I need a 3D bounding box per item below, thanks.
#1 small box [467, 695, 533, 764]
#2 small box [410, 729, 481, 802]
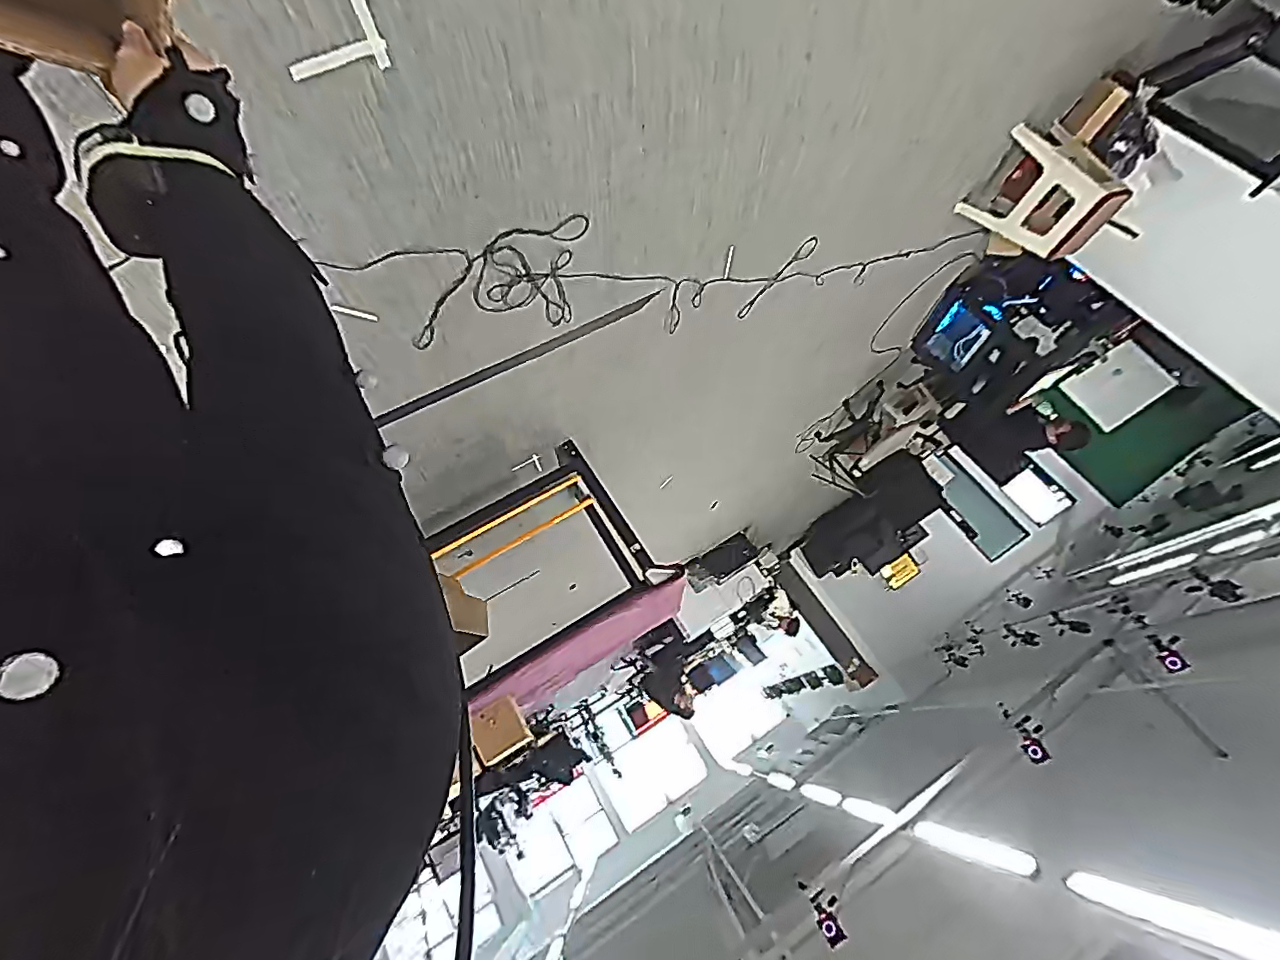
[{"bbox_3d":[-0.504,0.902,1.957,0.168,0.176,0.179,-28,158,-17],"label":"small box"},{"bbox_3d":[-0.683,1.001,1.907,0.168,0.176,0.179,-28,159,-17],"label":"small box"}]
